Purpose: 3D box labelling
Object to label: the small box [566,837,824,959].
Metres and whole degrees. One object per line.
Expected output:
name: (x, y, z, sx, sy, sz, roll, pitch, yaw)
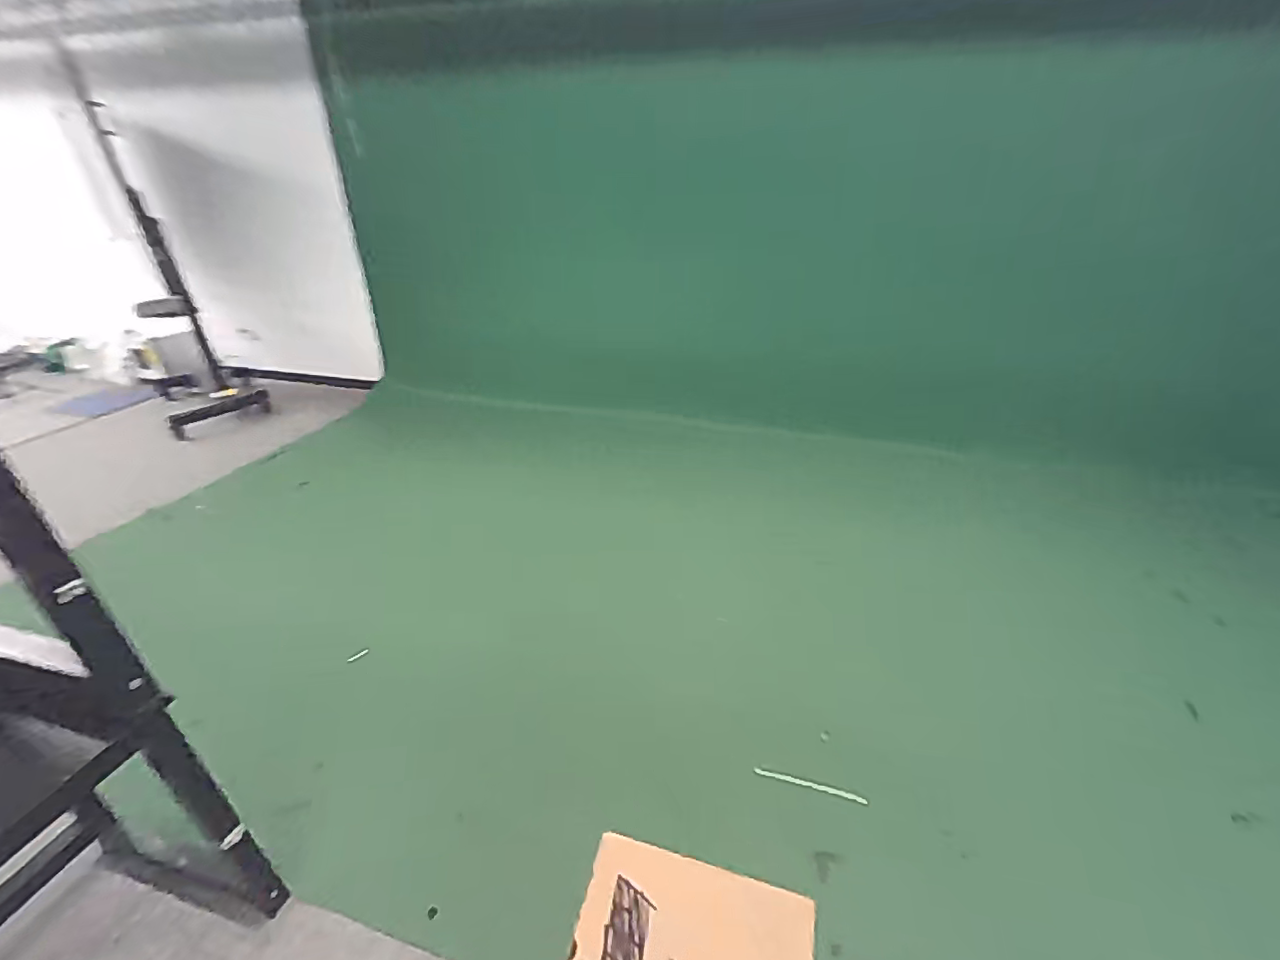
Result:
small box: (0.034, 0.419, 0.414, 0.179, 0.176, 0.168, 9, 40, 16)
